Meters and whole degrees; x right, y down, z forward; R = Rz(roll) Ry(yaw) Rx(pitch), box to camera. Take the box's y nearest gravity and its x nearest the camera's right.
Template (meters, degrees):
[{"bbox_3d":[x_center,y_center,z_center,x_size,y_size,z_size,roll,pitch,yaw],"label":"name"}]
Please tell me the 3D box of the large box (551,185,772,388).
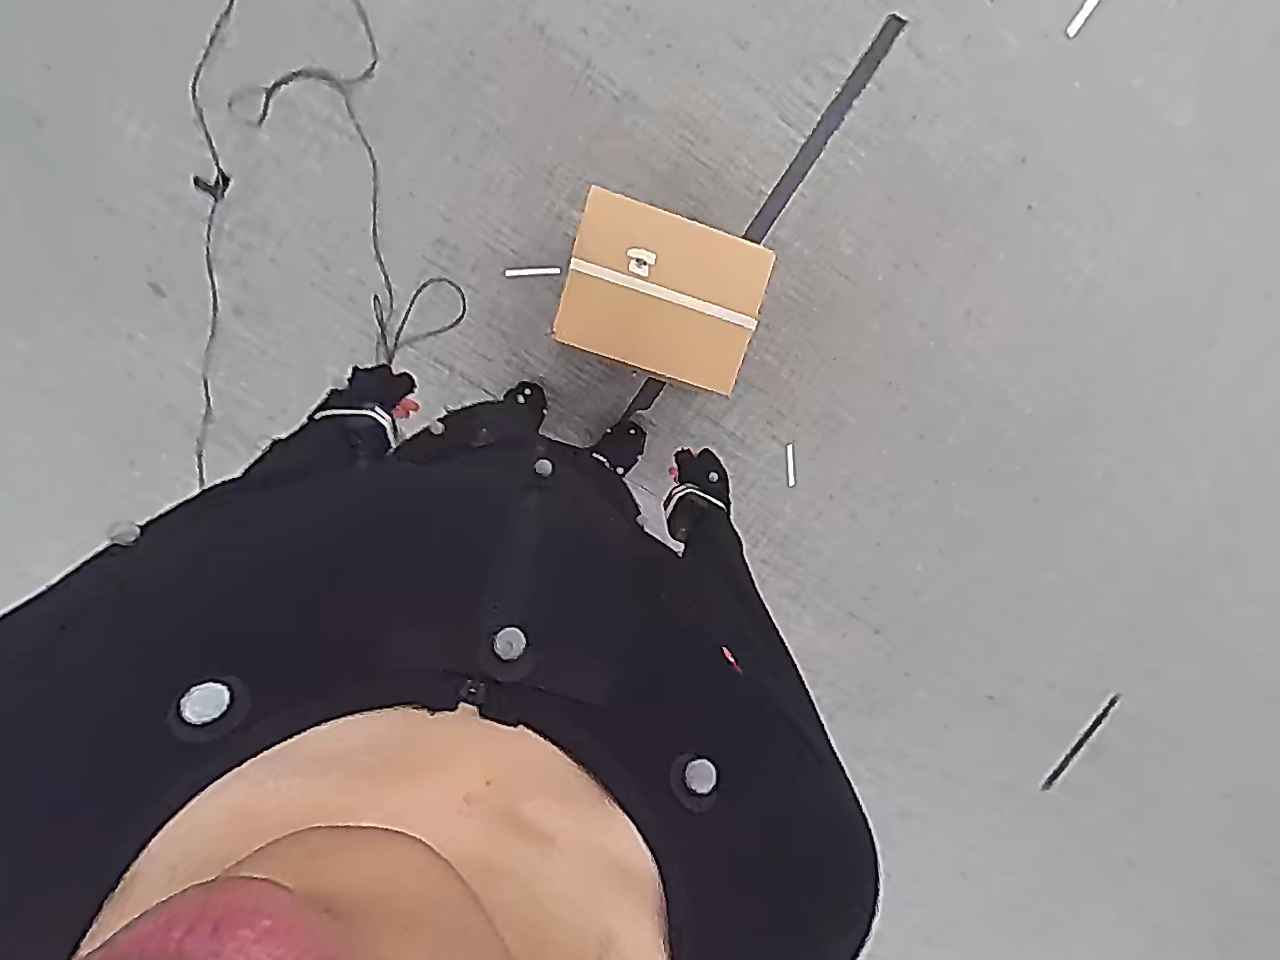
[{"bbox_3d":[0.036,-0.422,1.268,0.408,0.320,0.320,16,99,-8],"label":"large box"}]
